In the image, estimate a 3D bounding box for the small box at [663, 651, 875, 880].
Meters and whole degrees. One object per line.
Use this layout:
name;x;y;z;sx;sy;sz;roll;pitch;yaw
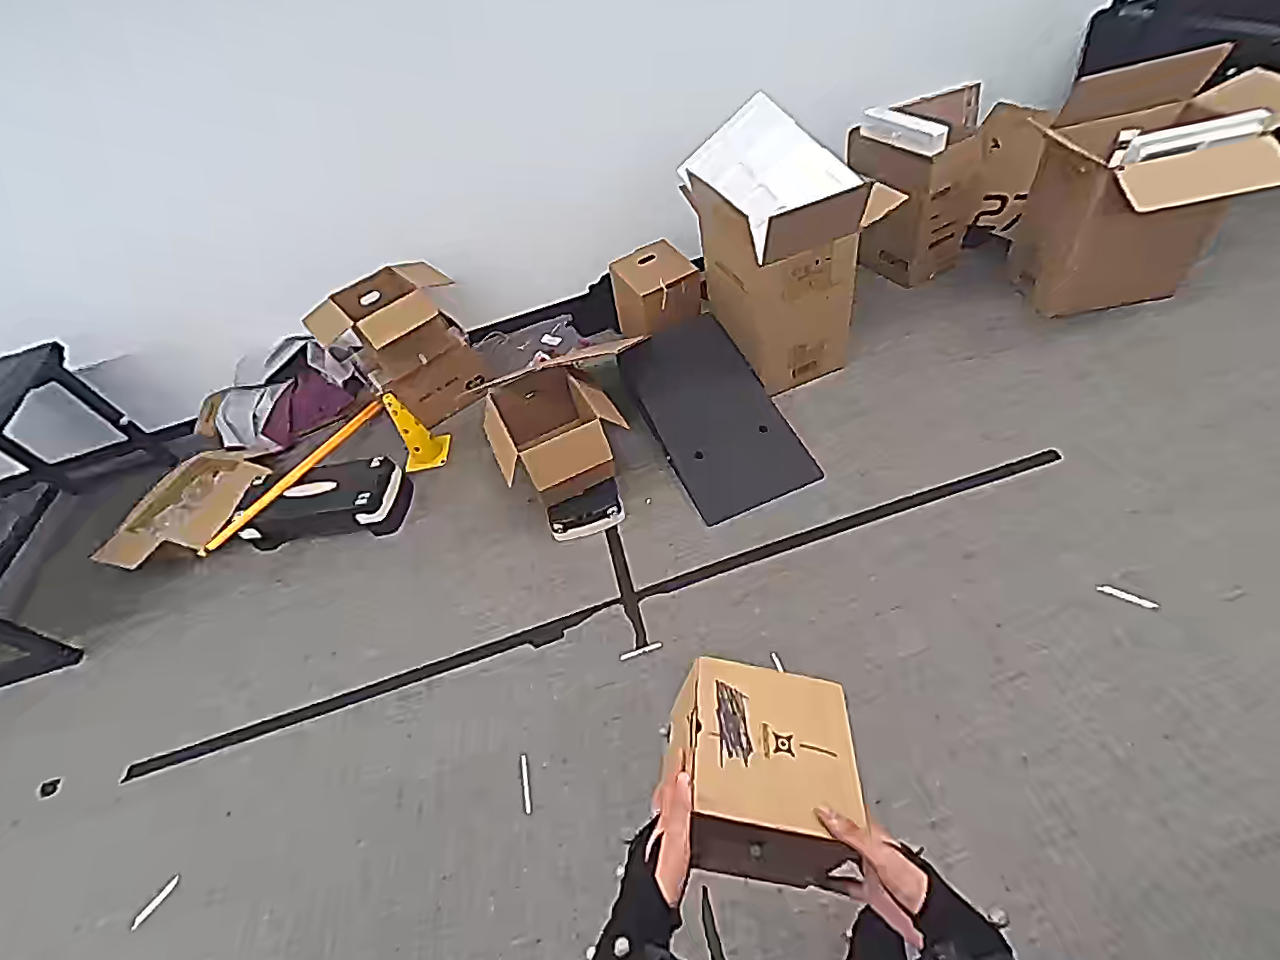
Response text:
small box;0.129;0.322;0.608;0.179;0.176;0.168;13;41;-2
